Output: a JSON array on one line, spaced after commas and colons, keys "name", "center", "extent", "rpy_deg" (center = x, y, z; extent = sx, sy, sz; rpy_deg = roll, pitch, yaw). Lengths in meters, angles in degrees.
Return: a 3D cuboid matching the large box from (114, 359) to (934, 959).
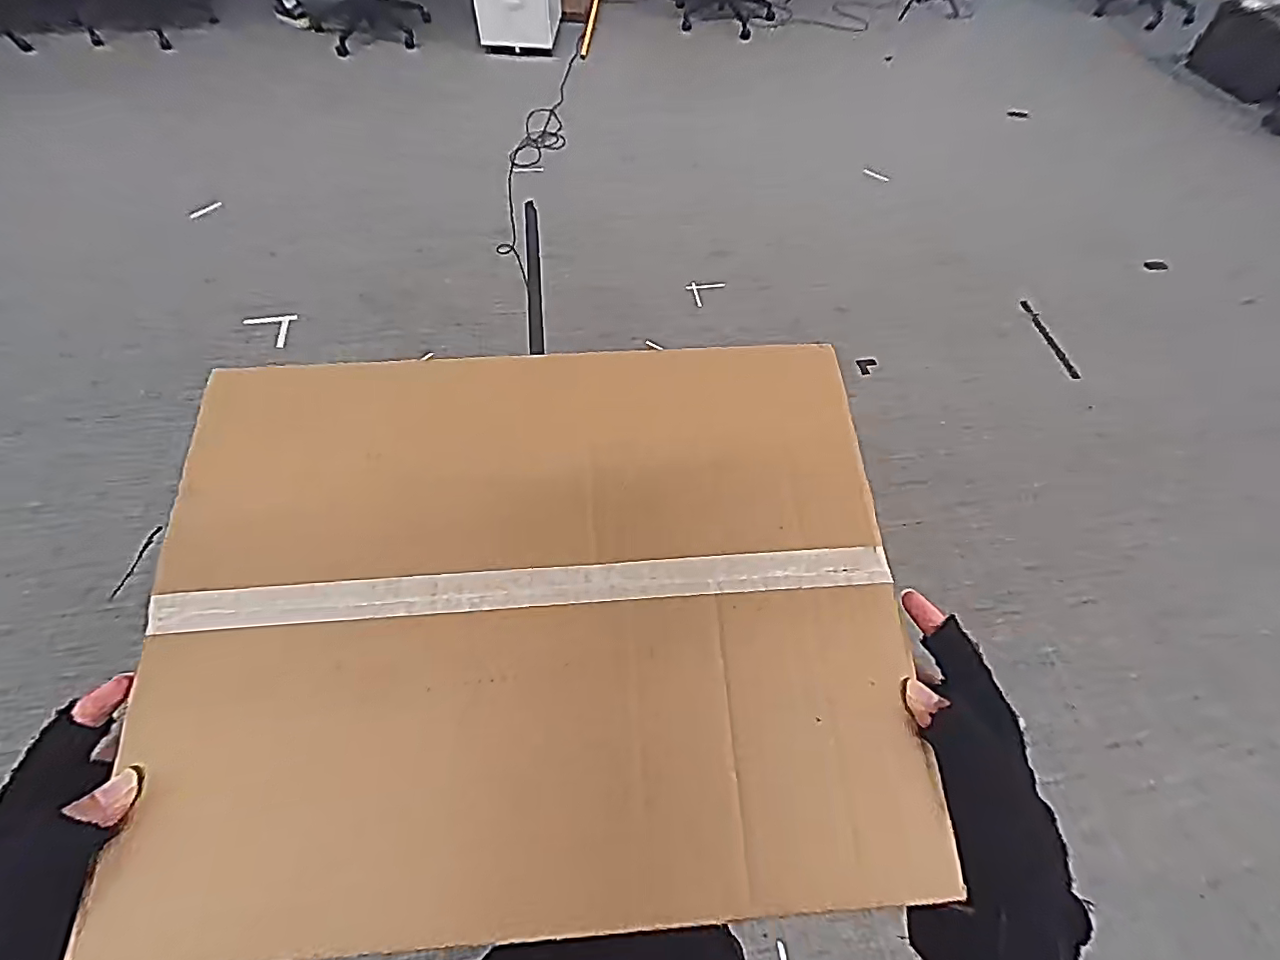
[{"name": "large box", "center": [-0.065, 0.125, 0.453], "extent": [0.408, 0.320, 0.320], "rpy_deg": [-3, 69, -3]}]
